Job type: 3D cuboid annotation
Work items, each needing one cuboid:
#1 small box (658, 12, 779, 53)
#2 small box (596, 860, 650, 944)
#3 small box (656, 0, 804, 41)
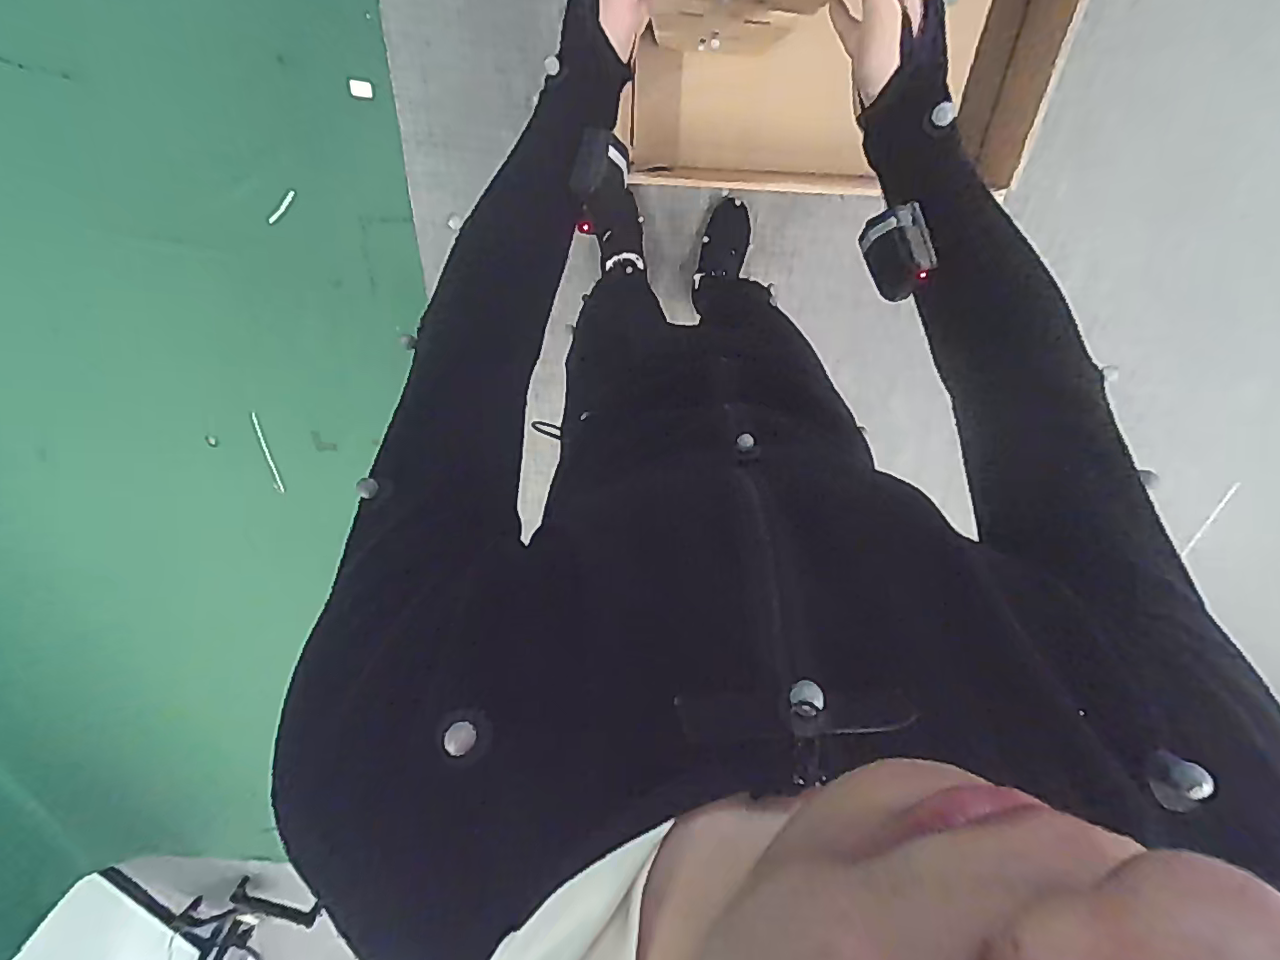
[{"bbox_3d":[0.113,-0.709,0.737,0.168,0.176,0.179,5,124,1],"label":"small box"},{"bbox_3d":[-0.052,1.373,1.760,0.168,0.176,0.179,0,123,1],"label":"small box"},{"bbox_3d":[0.106,-0.618,0.600,0.168,0.176,0.179,7,124,0],"label":"small box"}]
